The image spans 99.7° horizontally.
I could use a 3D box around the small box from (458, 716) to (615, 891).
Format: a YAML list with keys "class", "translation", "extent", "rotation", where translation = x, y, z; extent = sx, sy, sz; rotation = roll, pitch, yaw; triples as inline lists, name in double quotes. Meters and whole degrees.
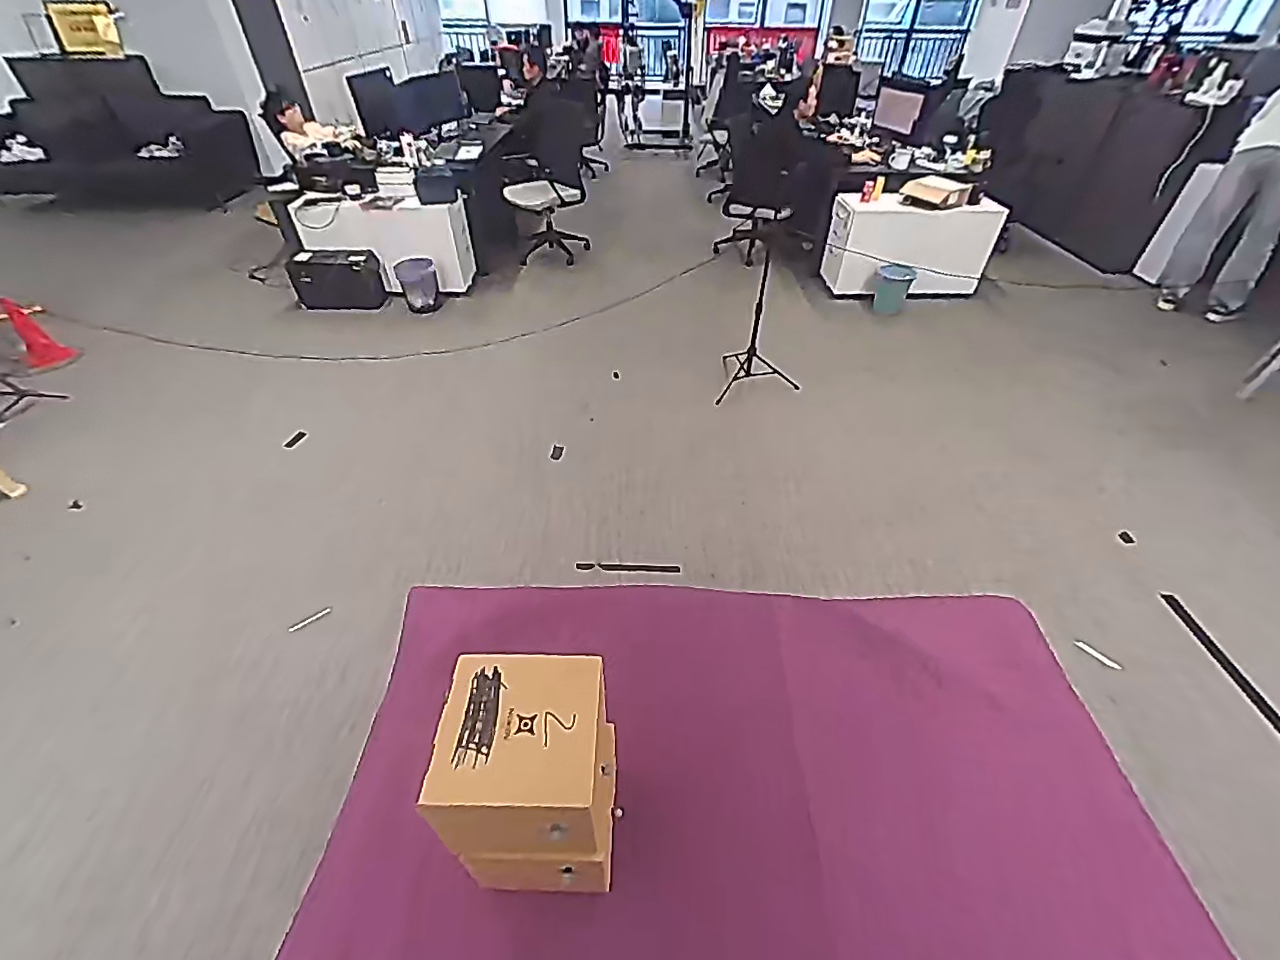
- class: "small box"
  translation: [-0.127, 0.449, 0.749]
  extent: [0.179, 0.176, 0.168]
  rotation: [2, 42, 1]
